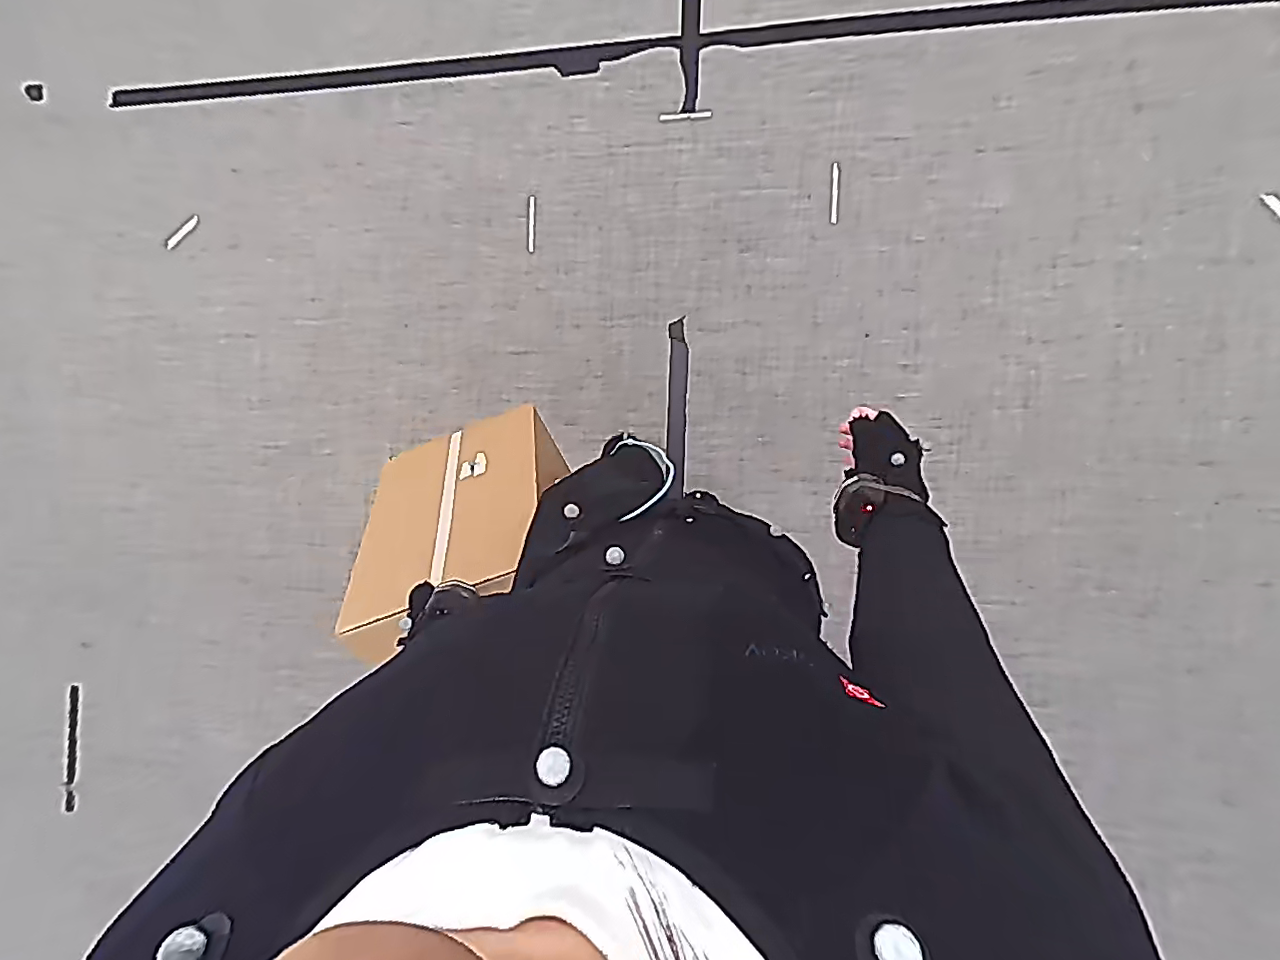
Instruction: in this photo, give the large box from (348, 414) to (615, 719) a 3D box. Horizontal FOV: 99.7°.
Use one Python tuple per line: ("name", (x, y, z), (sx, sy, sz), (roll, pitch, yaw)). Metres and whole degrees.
("large box", (-0.261, 0.150, 1.000), (0.320, 0.408, 0.320), (-20, 129, 5))
